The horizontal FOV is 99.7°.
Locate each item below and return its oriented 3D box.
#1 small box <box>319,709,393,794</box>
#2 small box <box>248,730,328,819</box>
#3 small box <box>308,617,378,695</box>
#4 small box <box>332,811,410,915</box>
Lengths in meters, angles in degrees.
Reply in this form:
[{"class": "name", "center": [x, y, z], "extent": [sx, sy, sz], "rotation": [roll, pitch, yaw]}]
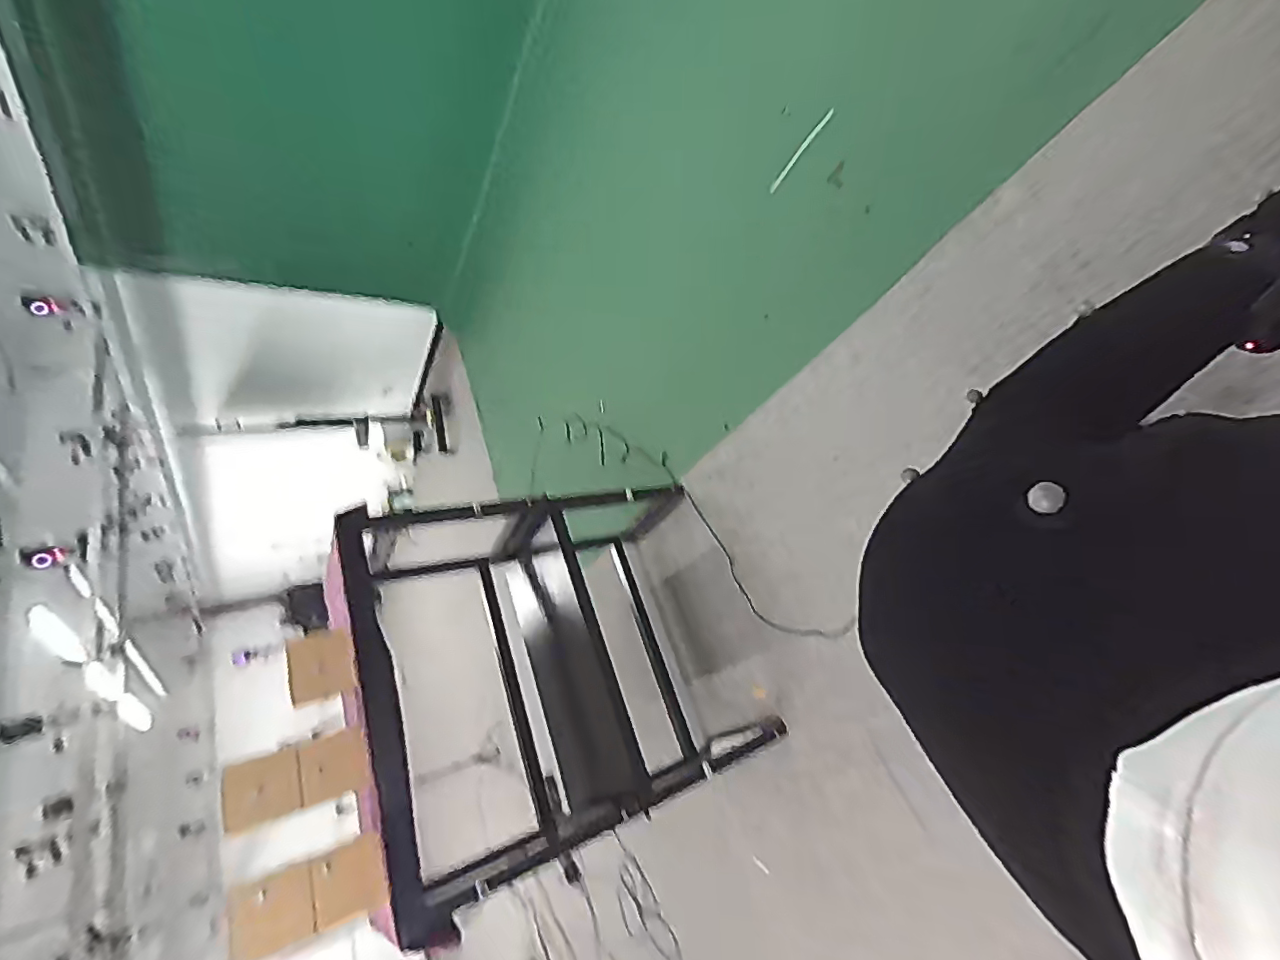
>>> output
[{"class": "small box", "center": [-0.833, 0.794, 1.583], "extent": [0.168, 0.176, 0.179], "rotation": [-45, 58, 49]}, {"class": "small box", "center": [-0.969, 0.807, 1.492], "extent": [0.168, 0.176, 0.179], "rotation": [-46, 59, 49]}, {"class": "small box", "center": [-0.927, 0.547, 1.688], "extent": [0.168, 0.176, 0.179], "rotation": [-44, 60, 49]}, {"class": "small box", "center": [-0.735, 1.034, 1.474], "extent": [0.168, 0.176, 0.179], "rotation": [-46, 56, 49]}]
